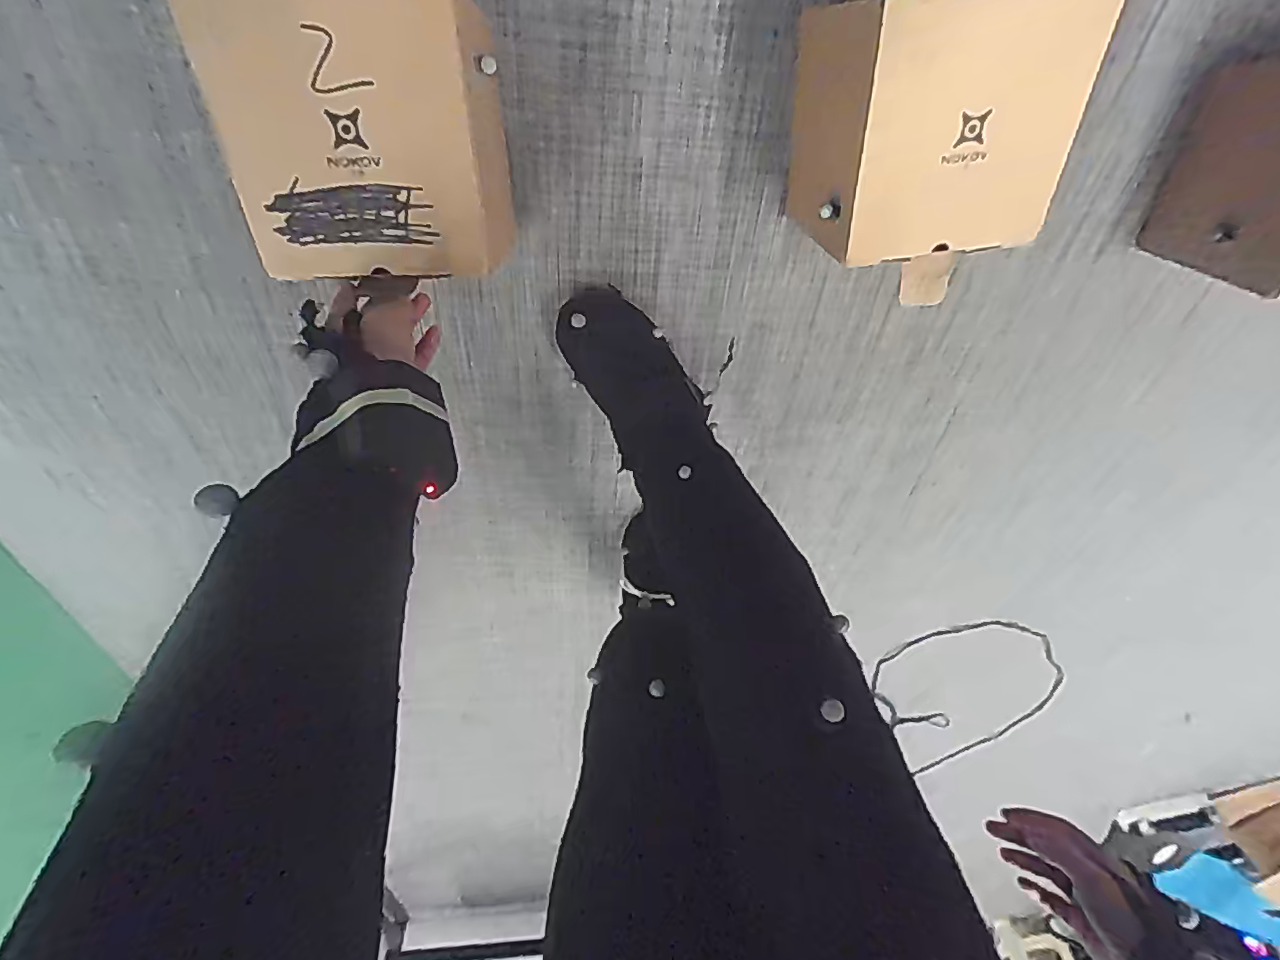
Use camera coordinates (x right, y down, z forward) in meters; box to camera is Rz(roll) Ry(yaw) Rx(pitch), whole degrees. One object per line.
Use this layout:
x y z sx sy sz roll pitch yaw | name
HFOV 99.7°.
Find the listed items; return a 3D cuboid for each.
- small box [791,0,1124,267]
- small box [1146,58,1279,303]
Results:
0.238 -0.306 0.464 0.168 0.176 0.179 -7 130 0 | small box
0.655 -0.296 0.519 0.168 0.176 0.179 -10 129 1 | small box
